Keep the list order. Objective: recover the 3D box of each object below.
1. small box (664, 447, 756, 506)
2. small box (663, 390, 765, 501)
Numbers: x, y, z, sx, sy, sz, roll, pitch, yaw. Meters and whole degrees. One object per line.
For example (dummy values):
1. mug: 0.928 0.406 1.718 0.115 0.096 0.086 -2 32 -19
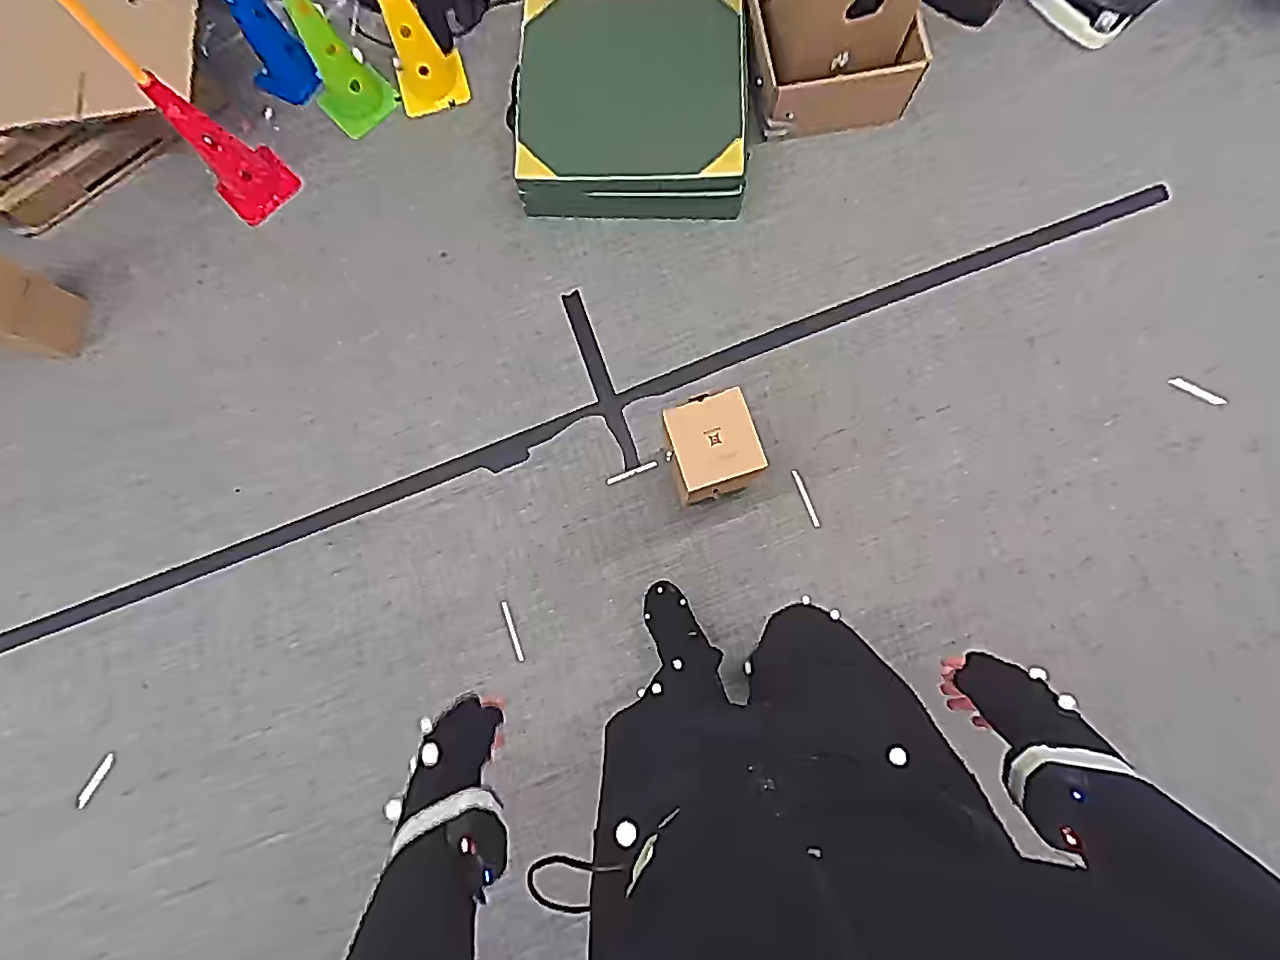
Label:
1. small box: 0.164 -0.044 1.312 0.179 0.176 0.168 -17 79 -2
2. small box: 0.149 -0.066 1.151 0.168 0.176 0.179 -17 81 1
